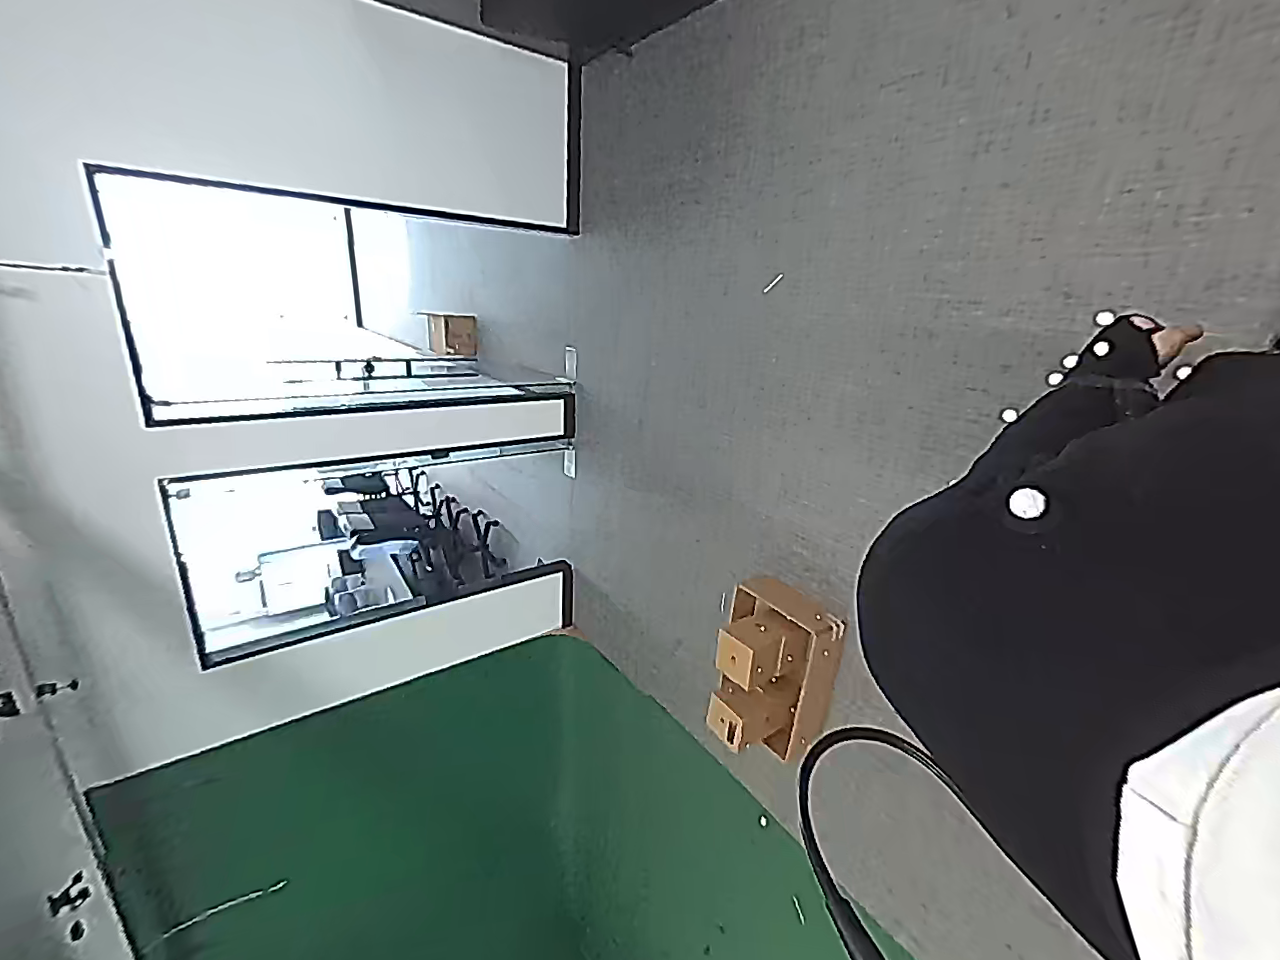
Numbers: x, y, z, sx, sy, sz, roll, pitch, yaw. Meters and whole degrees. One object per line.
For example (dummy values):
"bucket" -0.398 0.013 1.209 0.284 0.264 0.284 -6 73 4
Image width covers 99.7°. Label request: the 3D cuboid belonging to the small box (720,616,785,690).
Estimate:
"small box" 0.420 0.638 2.010 0.168 0.176 0.179 25 119 48
